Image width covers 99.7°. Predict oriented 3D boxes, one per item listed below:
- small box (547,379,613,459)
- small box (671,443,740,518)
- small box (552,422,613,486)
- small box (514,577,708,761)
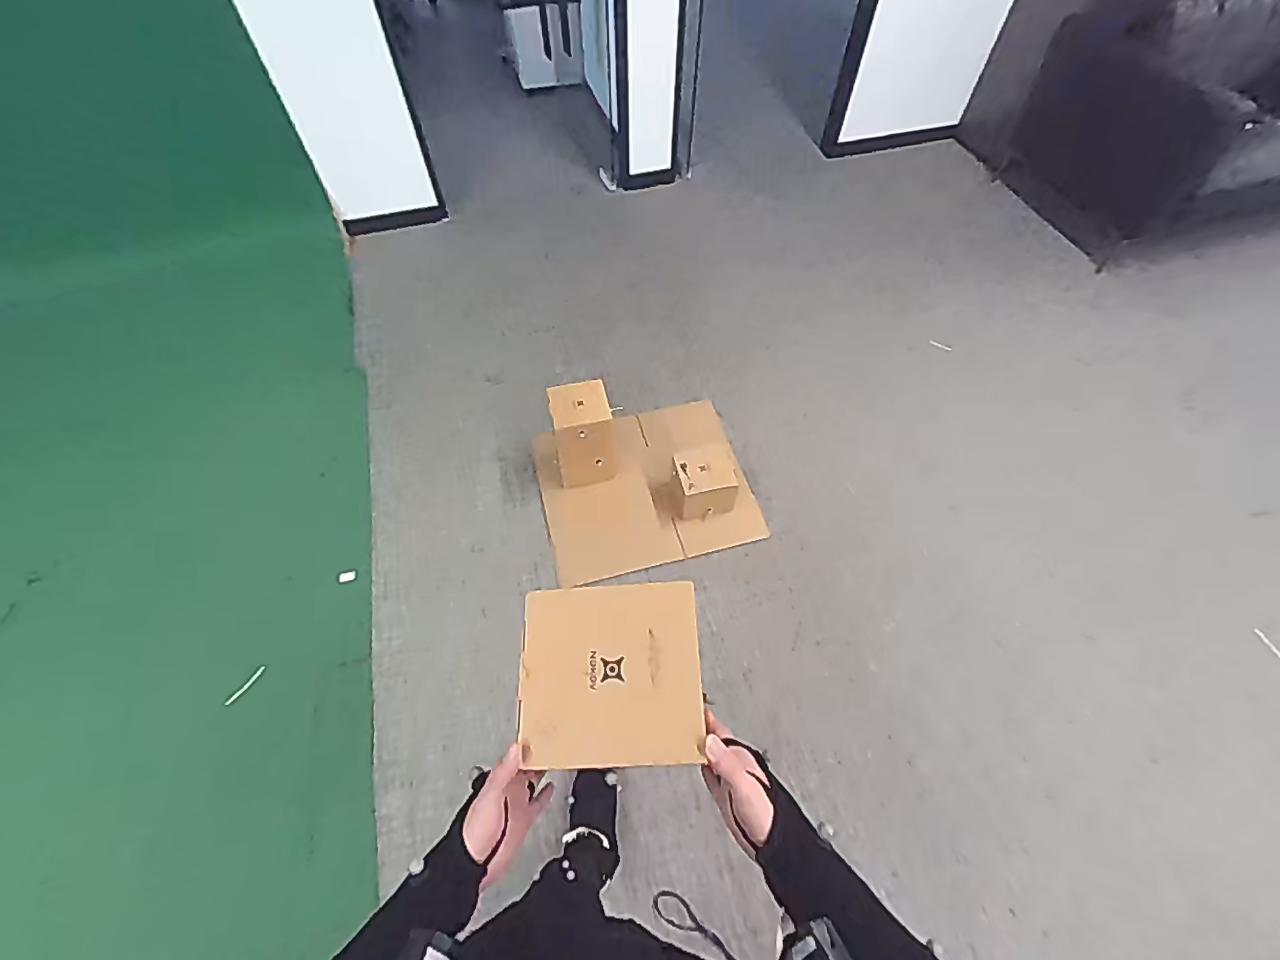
[{"bbox_3d":[-0.183,-0.188,1.683,0.179,0.176,0.168,-12,59,-7],"label":"small box"},{"bbox_3d":[0.206,0.005,1.758,0.179,0.176,0.168,-10,58,-7],"label":"small box"},{"bbox_3d":[-0.190,-0.100,1.818,0.179,0.176,0.168,-12,58,-7],"label":"small box"},{"bbox_3d":[-0.020,0.212,0.587,0.179,0.176,0.168,-4,63,5],"label":"small box"}]
